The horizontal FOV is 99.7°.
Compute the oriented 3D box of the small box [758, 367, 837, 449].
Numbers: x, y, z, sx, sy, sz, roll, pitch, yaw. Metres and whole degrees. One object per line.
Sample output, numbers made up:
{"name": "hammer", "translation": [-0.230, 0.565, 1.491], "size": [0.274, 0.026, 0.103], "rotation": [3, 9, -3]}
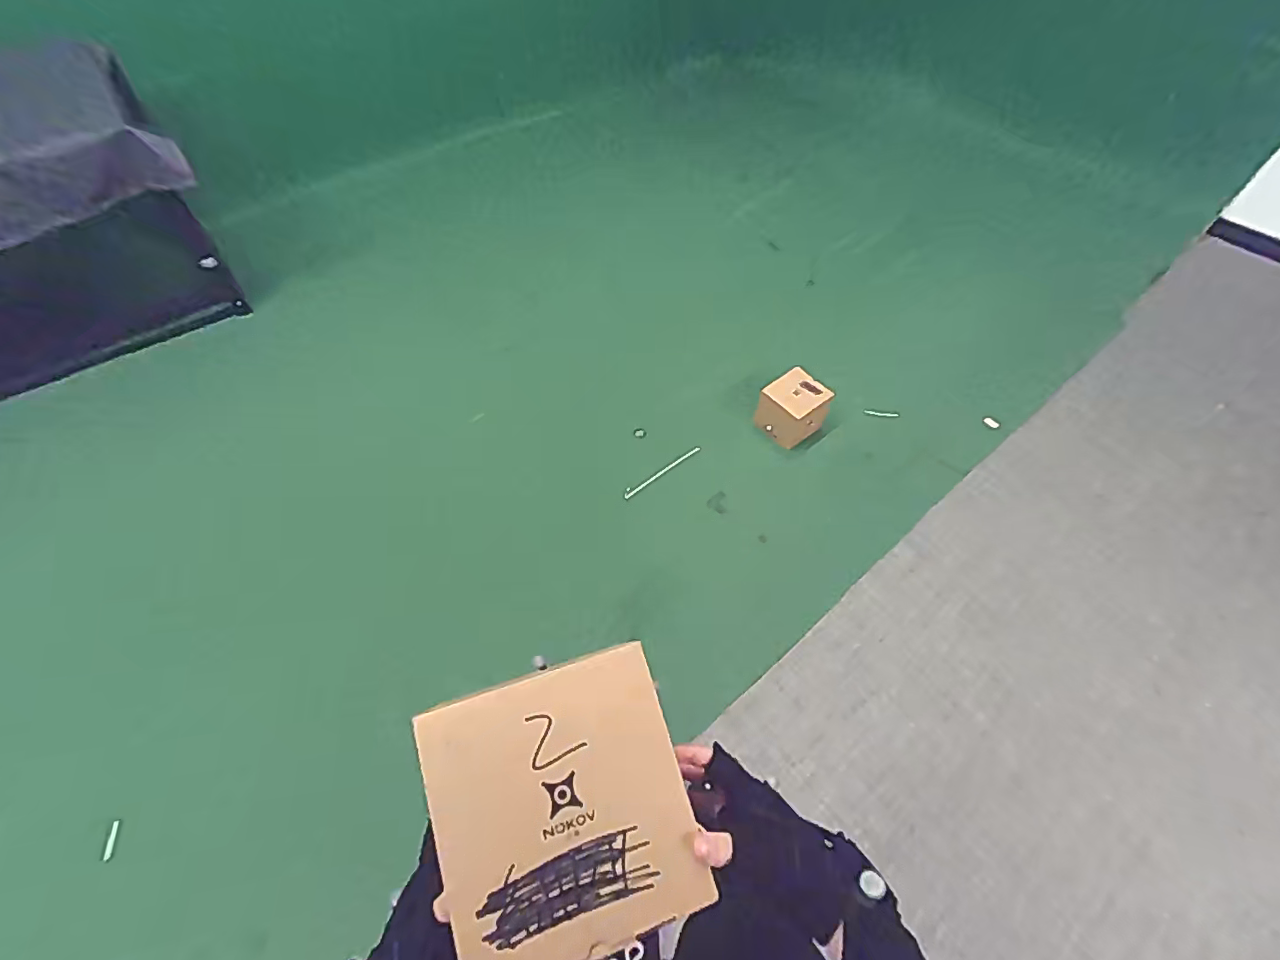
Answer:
{"name": "small box", "translation": [0.516, -0.237, 1.801], "size": [0.179, 0.176, 0.168], "rotation": [-34, 62, -20]}
